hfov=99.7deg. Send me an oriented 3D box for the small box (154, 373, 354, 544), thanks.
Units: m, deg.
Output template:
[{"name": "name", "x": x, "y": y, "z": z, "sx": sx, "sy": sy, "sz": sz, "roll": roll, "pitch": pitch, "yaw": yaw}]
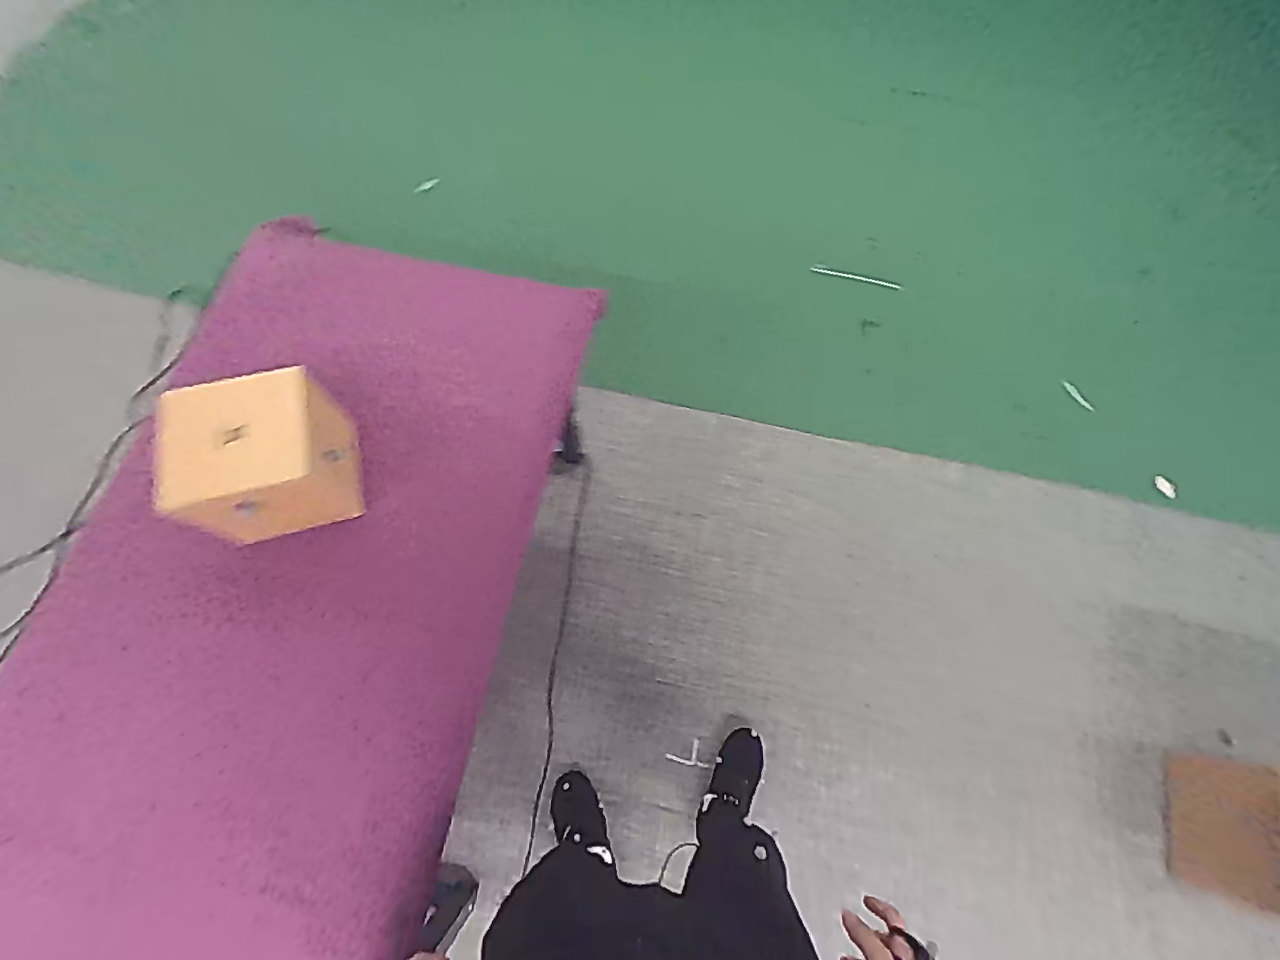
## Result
[{"name": "small box", "x": -0.524, "y": -0.022, "z": 0.759, "sx": 0.179, "sy": 0.176, "sz": 0.168, "roll": -15, "pitch": 71, "yaw": -6}]
